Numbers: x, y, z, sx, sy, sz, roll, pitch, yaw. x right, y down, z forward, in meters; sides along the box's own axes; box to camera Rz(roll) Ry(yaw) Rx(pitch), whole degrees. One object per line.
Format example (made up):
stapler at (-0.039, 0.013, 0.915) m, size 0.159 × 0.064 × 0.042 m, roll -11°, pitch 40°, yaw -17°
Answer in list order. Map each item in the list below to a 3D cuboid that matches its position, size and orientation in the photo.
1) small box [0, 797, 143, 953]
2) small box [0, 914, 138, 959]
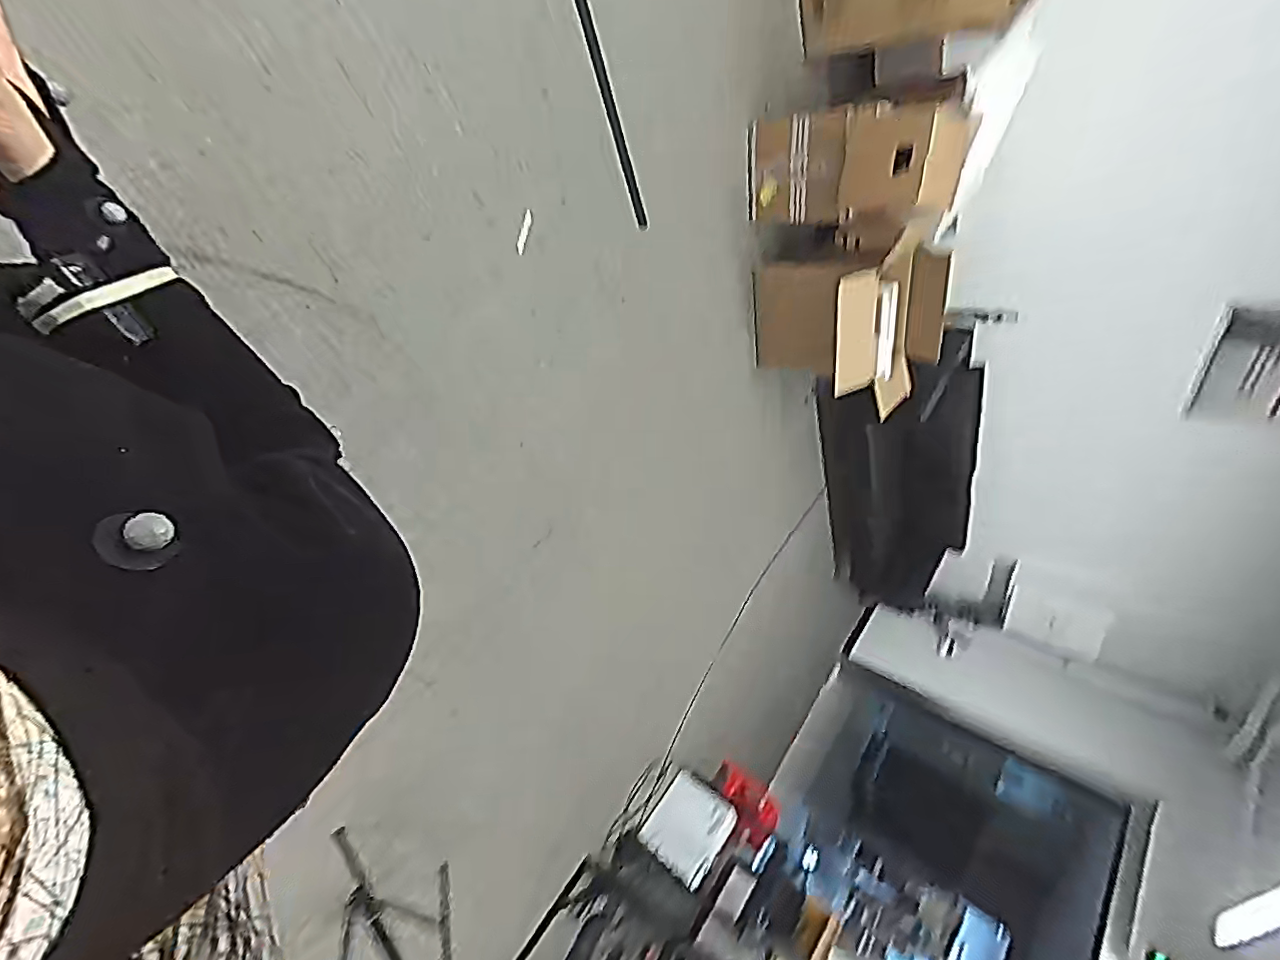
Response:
small box at (-0.647, 0.448, 0.521) m, size 0.168 × 0.176 × 0.179 m, roll -46°, pitch 136°, yaw -30°
small box at (-0.524, 0.490, 0.418) m, size 0.168 × 0.176 × 0.179 m, roll -45°, pitch 137°, yaw -31°
